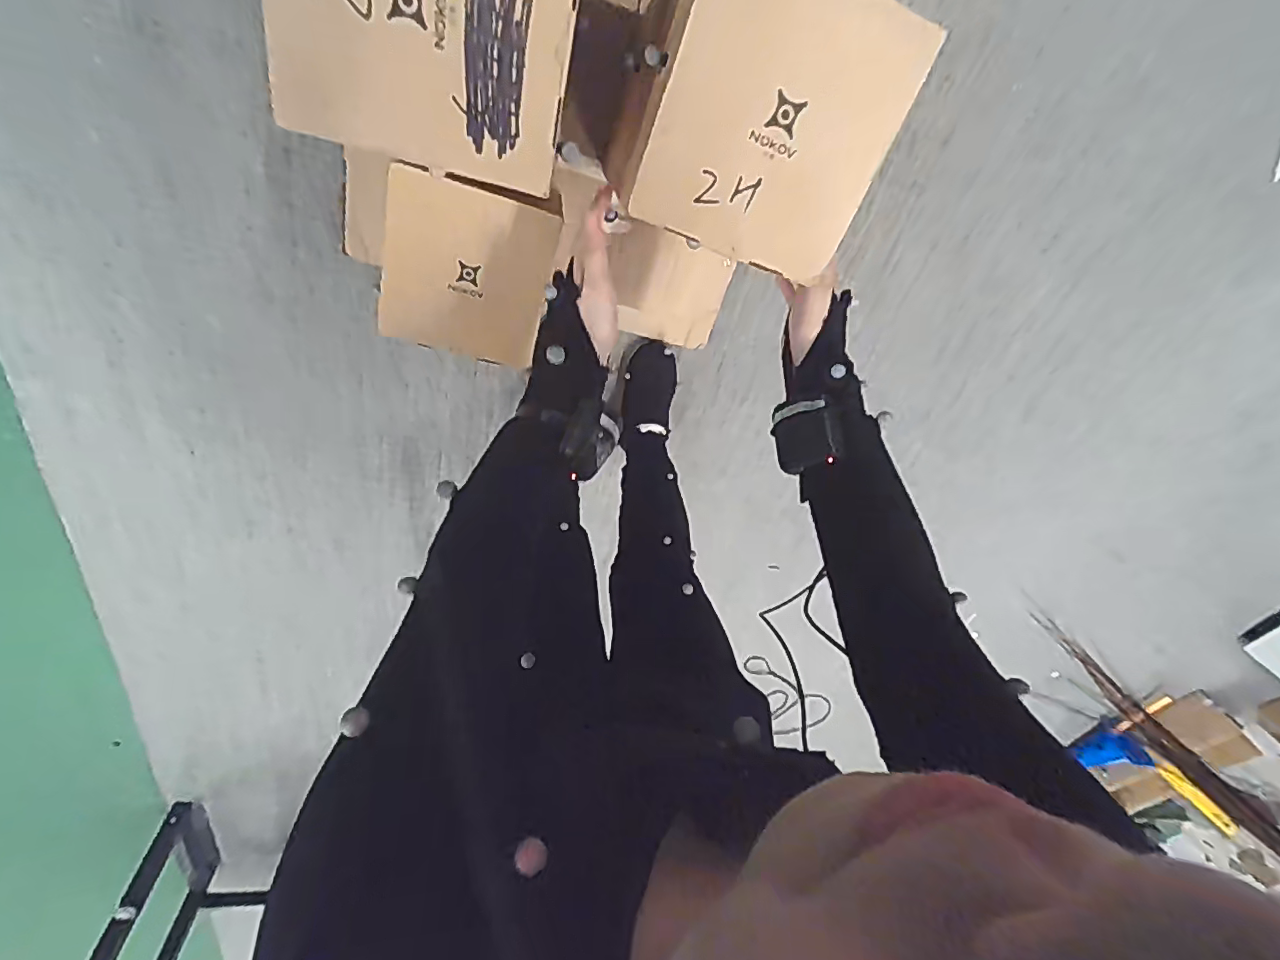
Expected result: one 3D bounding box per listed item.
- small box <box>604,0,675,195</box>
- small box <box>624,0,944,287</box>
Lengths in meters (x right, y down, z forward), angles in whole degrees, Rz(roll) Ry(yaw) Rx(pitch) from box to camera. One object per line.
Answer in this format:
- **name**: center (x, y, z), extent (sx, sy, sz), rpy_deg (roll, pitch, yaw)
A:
- **small box**: center (0.069, -0.378, 0.581), extent (0.179, 0.176, 0.168), rpy_deg (14, 121, -15)
- **small box**: center (0.090, -0.288, 0.441), extent (0.168, 0.176, 0.179), rpy_deg (15, 120, -15)
